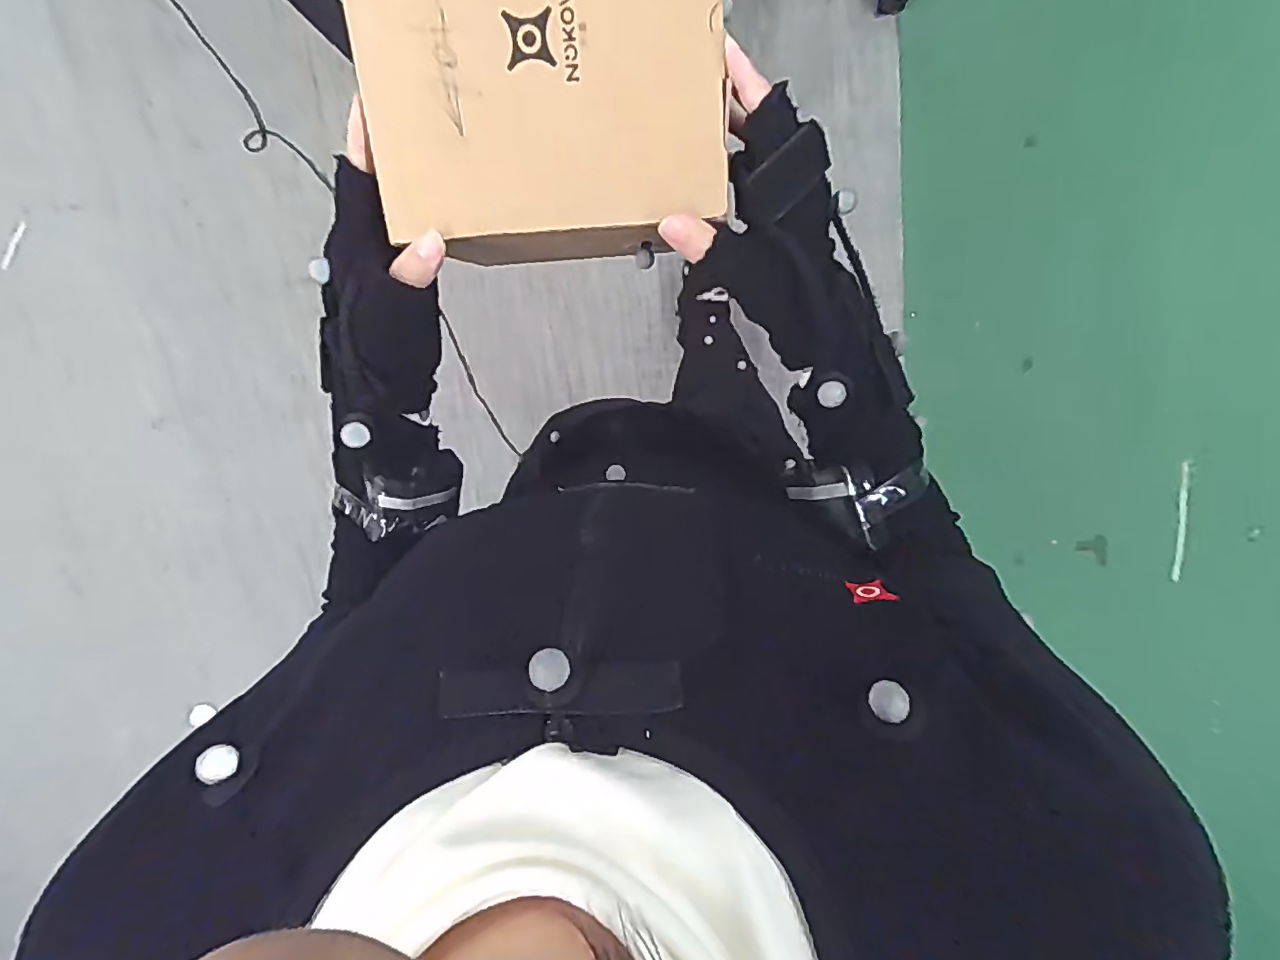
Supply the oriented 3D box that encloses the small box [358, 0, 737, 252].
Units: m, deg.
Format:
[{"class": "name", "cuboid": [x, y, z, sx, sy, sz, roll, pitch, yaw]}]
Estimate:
[{"class": "small box", "cuboid": [-0.043, -0.240, 0.329, 0.179, 0.176, 0.168, -5, 107, 3]}]
